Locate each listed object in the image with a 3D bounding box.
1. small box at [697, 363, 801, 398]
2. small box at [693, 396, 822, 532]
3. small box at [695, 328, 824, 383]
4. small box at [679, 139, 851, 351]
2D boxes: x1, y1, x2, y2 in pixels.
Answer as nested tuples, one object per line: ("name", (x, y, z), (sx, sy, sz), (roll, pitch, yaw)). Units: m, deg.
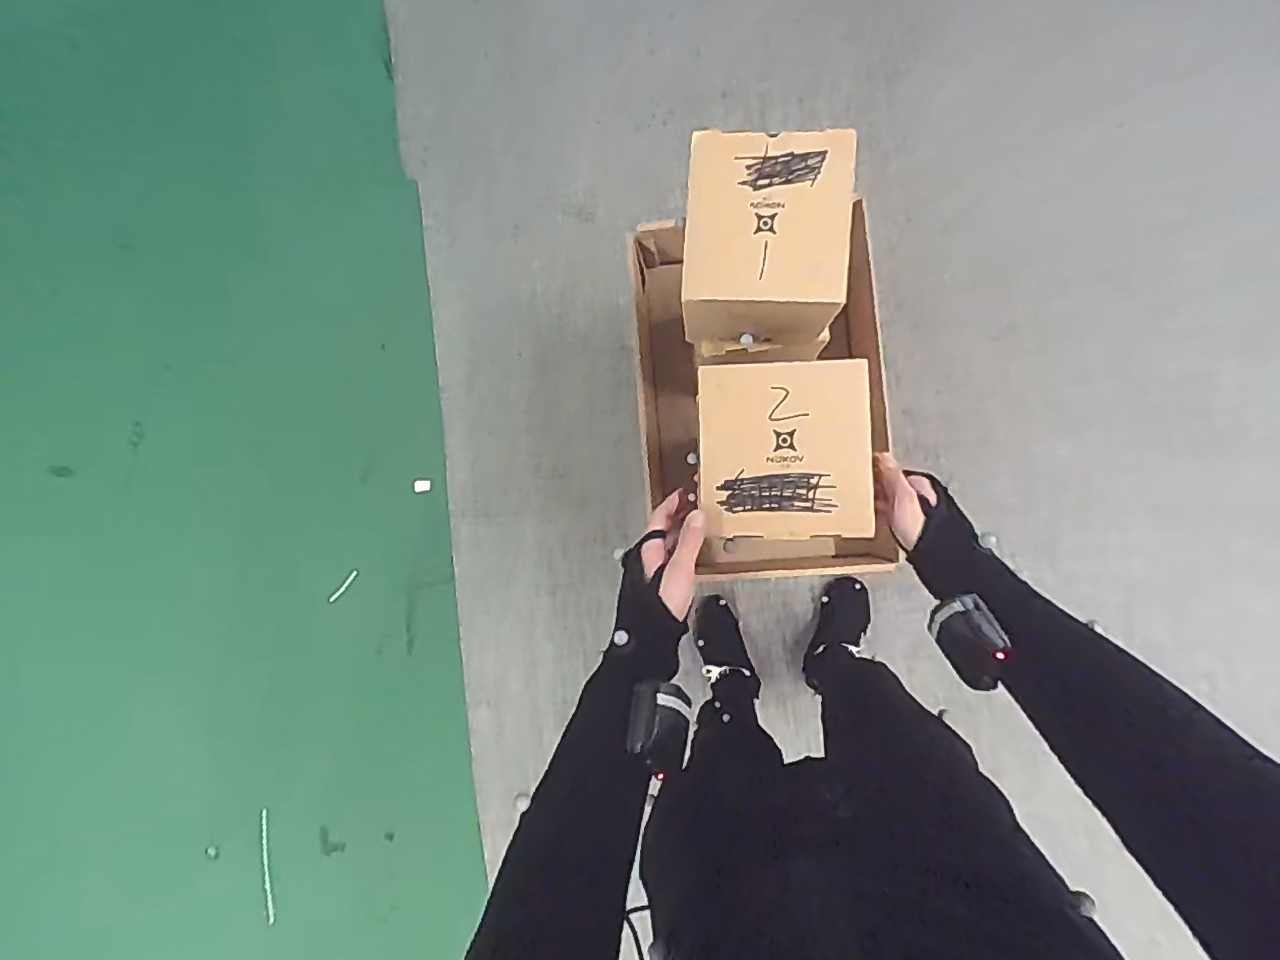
("small box", (0.181, -0.250, 0.955), (0.168, 0.176, 0.179), (-5, 88, 8))
("small box", (0.162, -0.017, 0.778), (0.168, 0.176, 0.179), (0, 86, 6))
("small box", (0.161, -0.253, 0.794), (0.168, 0.176, 0.179), (-6, 88, 7))
("small box", (0.135, -0.261, 0.632), (0.168, 0.176, 0.179), (4, 90, 7))
